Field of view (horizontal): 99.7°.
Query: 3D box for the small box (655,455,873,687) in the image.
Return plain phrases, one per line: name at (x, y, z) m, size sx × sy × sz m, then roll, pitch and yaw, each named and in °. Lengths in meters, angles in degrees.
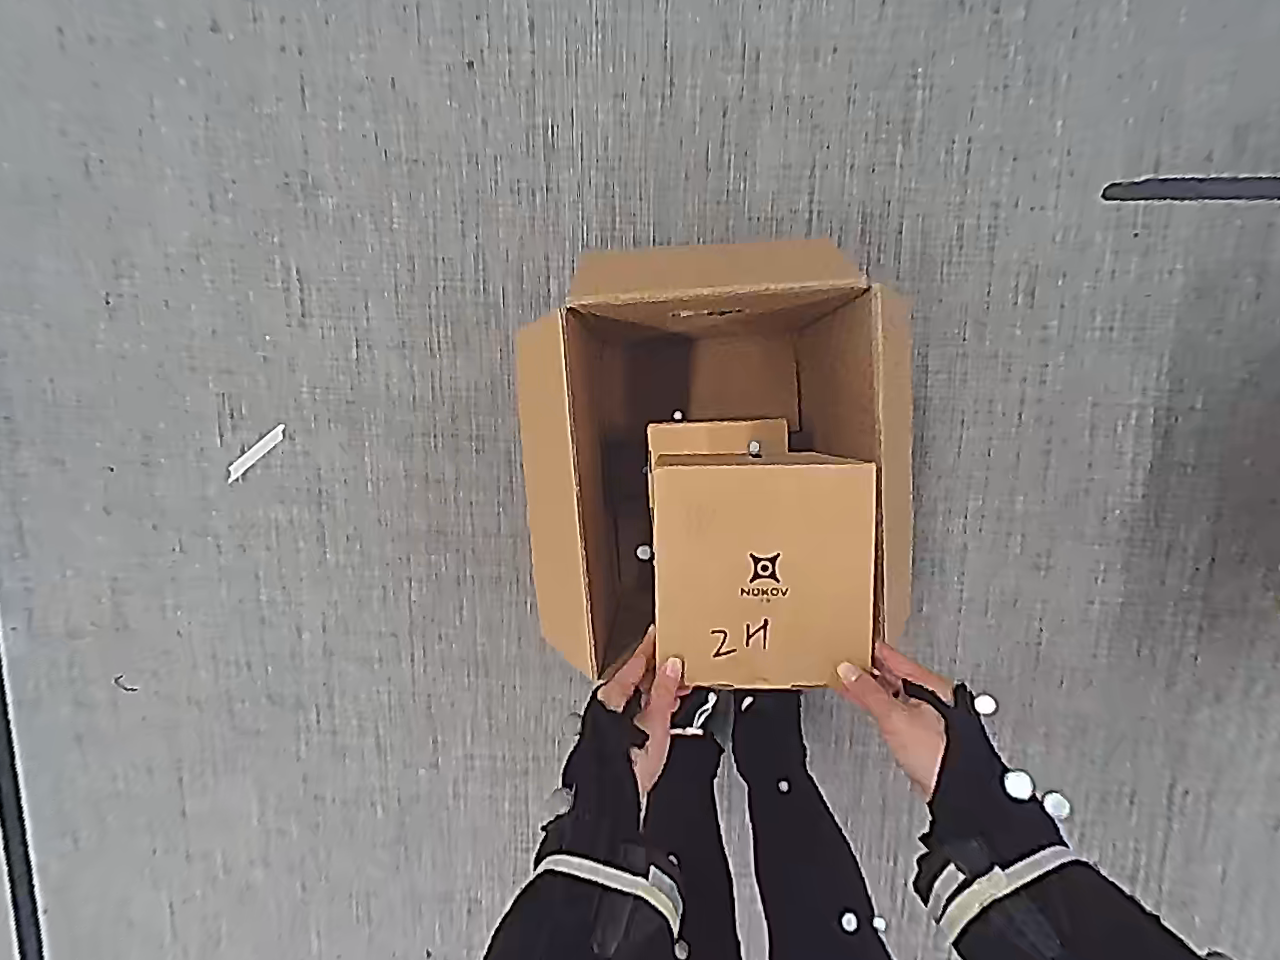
small box at (0.096, 0.066, 0.492) m, size 0.168 × 0.176 × 0.179 m, roll -1°, pitch 95°, yaw 3°
